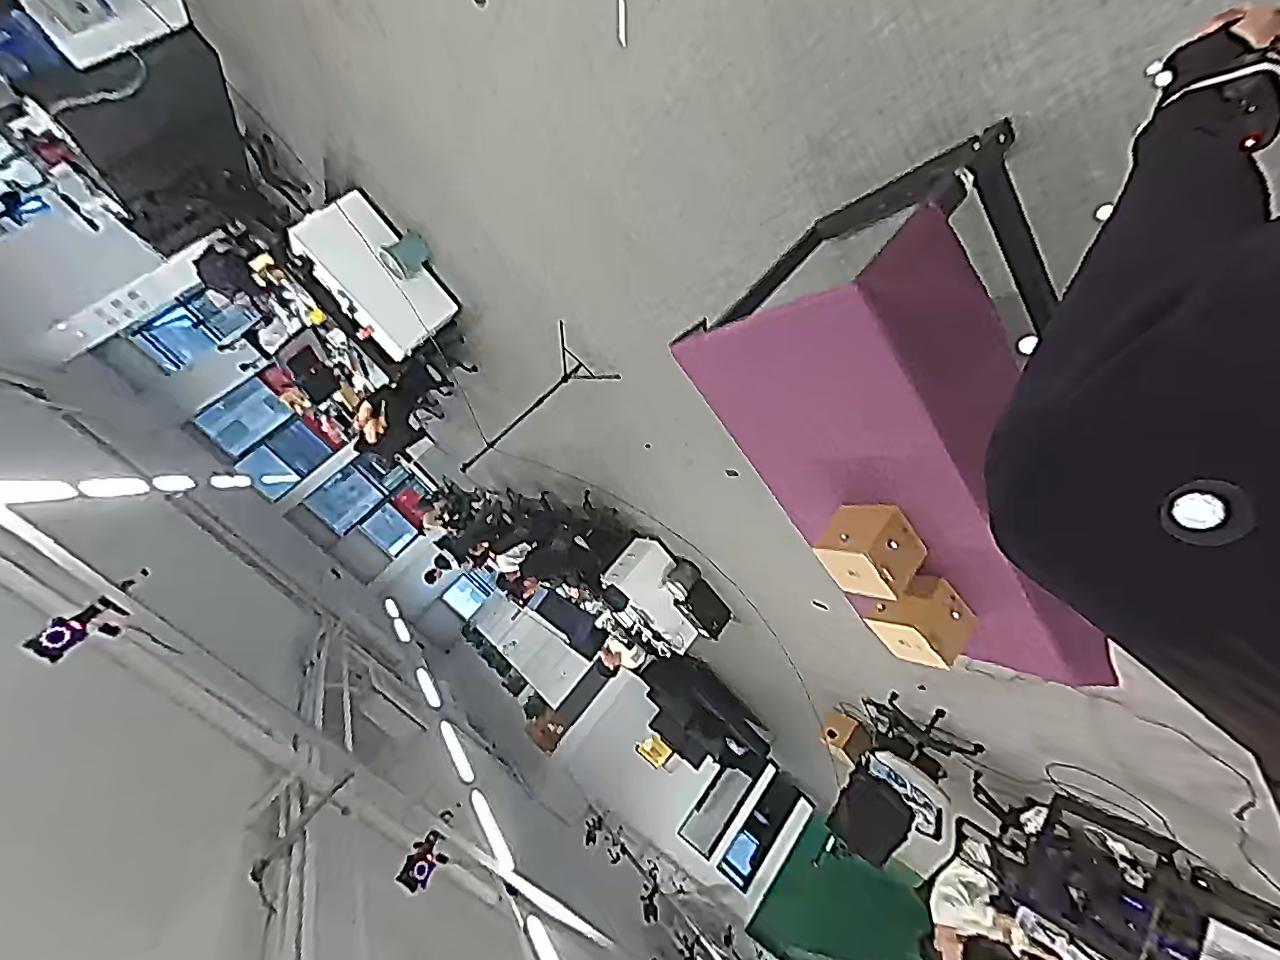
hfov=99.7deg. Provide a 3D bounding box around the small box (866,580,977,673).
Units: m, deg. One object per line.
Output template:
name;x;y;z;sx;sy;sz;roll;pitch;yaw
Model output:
small box;0.758;0.383;1.455;0.168;0.176;0.179;47;159;-11

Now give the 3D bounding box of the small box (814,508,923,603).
small box;0.590;0.186;1.379;0.168;0.176;0.179;50;158;-17
